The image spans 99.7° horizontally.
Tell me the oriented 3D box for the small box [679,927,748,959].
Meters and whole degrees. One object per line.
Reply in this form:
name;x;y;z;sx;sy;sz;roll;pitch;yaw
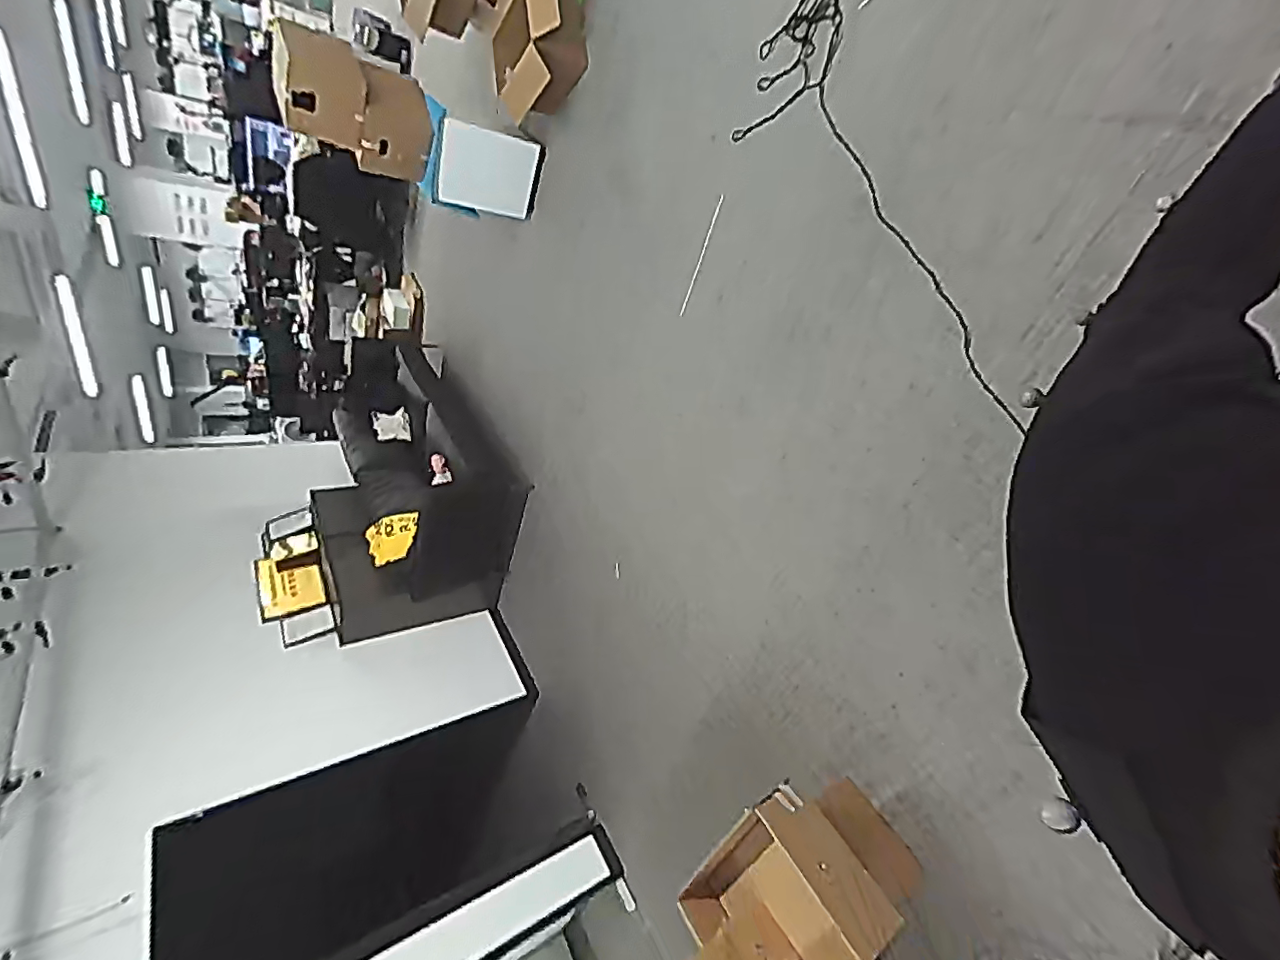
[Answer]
small box;0.201;1.356;1.452;0.179;0.176;0.168;43;127;40
